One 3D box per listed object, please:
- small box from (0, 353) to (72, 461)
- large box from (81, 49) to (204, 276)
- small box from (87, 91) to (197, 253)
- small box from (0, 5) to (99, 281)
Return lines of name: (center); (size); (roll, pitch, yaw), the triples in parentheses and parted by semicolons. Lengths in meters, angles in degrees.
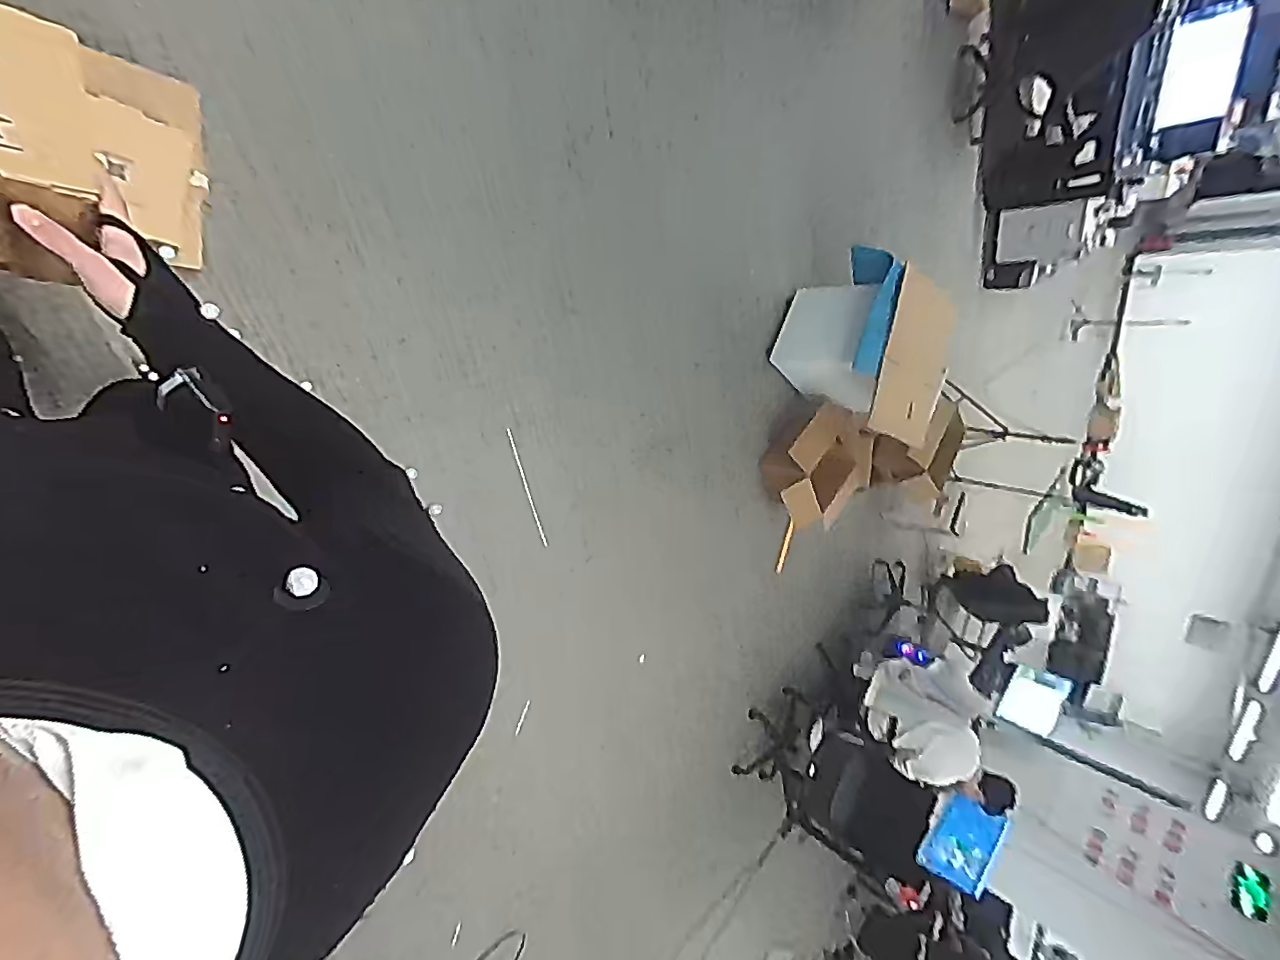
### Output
small box: (-1.237, -0.153, 1.029); (0.168, 0.176, 0.179); (29, 78, -39)
large box: (-1.041, -0.564, 0.954); (0.408, 0.320, 0.320); (-2, 103, -42)
small box: (-0.817, -0.475, 0.847); (0.168, 0.176, 0.179); (7, 99, -44)
small box: (-0.618, -0.308, 0.489); (0.168, 0.176, 0.179); (-7, 80, -50)
